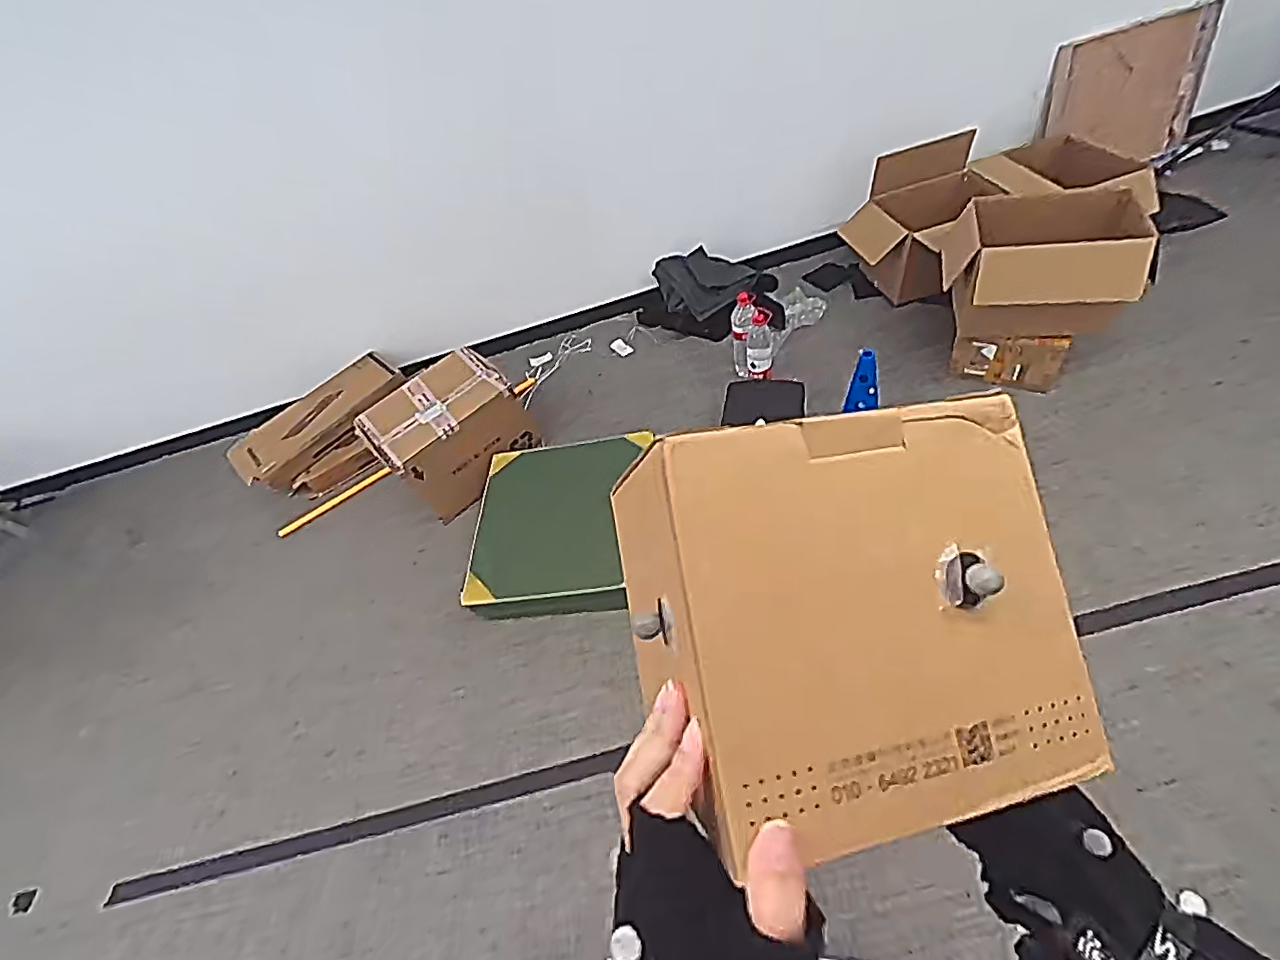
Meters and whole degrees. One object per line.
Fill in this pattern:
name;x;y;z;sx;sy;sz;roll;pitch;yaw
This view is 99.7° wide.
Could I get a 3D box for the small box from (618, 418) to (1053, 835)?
small box;0.087;0.076;0.316;0.168;0.179;0.176;-9;82;-9
